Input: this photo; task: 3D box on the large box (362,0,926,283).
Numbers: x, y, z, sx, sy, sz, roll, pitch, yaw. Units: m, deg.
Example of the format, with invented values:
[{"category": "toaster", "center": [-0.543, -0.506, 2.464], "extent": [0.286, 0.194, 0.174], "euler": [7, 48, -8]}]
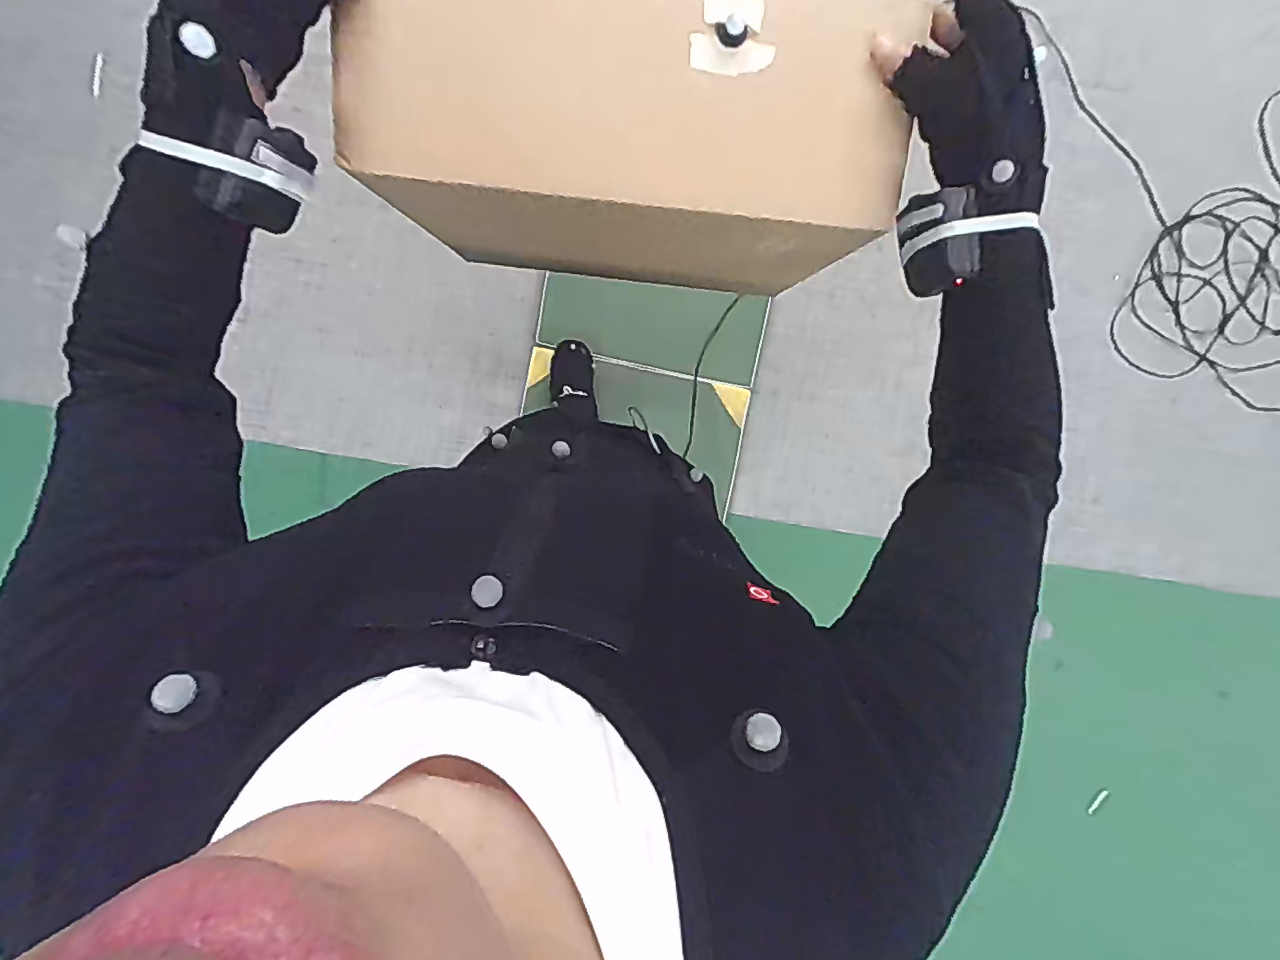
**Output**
[{"category": "large box", "center": [0.001, -0.391, 0.522], "extent": [0.408, 0.320, 0.320], "euler": [5, 101, -4]}]
